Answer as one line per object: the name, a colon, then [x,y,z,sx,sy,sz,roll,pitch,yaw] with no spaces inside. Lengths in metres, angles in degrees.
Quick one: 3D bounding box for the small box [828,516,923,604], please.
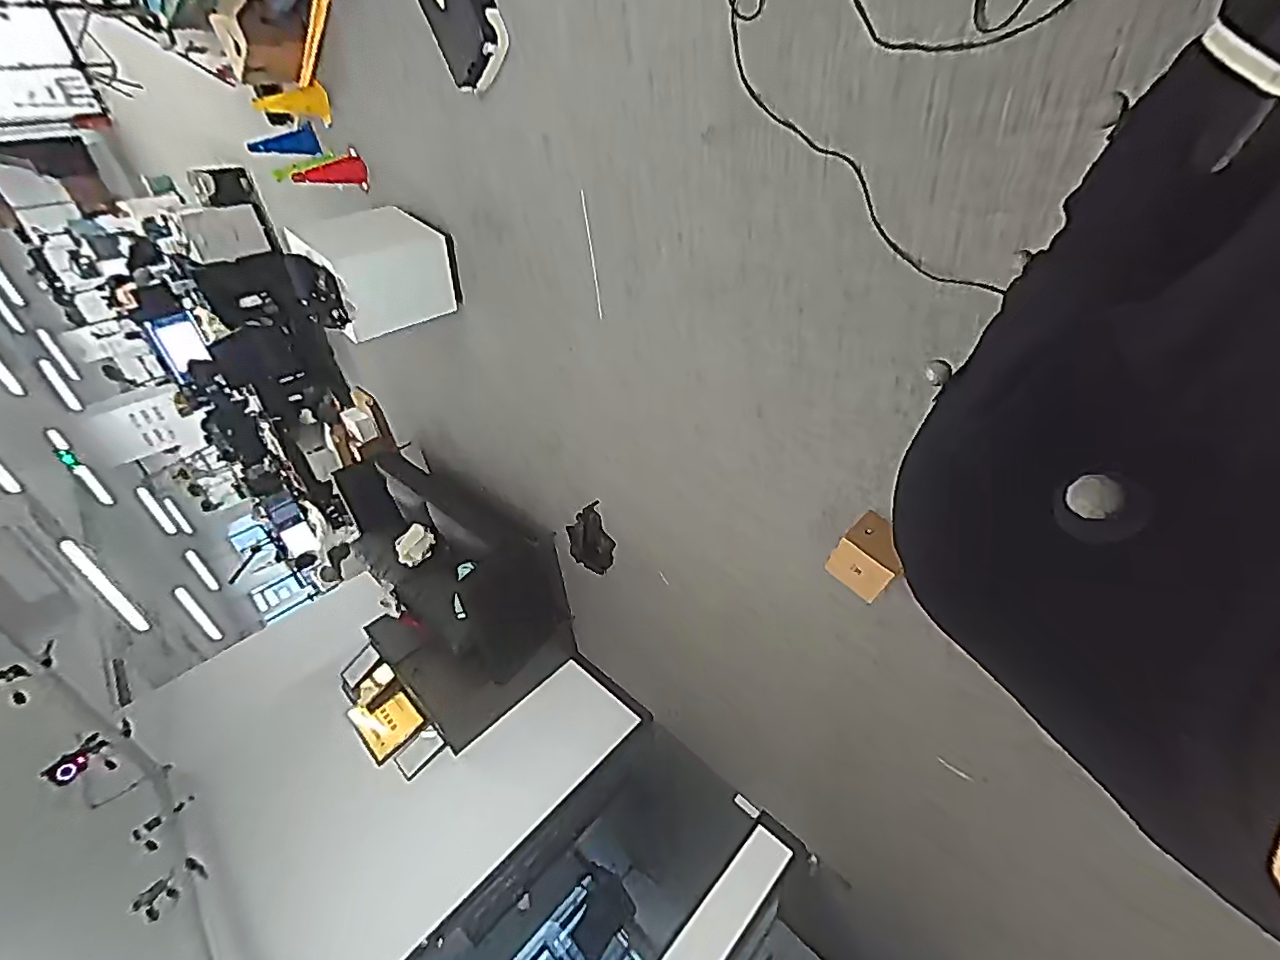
small box: [0.717,0.233,1.647,0.179,0.176,0.168,39,143,25]
